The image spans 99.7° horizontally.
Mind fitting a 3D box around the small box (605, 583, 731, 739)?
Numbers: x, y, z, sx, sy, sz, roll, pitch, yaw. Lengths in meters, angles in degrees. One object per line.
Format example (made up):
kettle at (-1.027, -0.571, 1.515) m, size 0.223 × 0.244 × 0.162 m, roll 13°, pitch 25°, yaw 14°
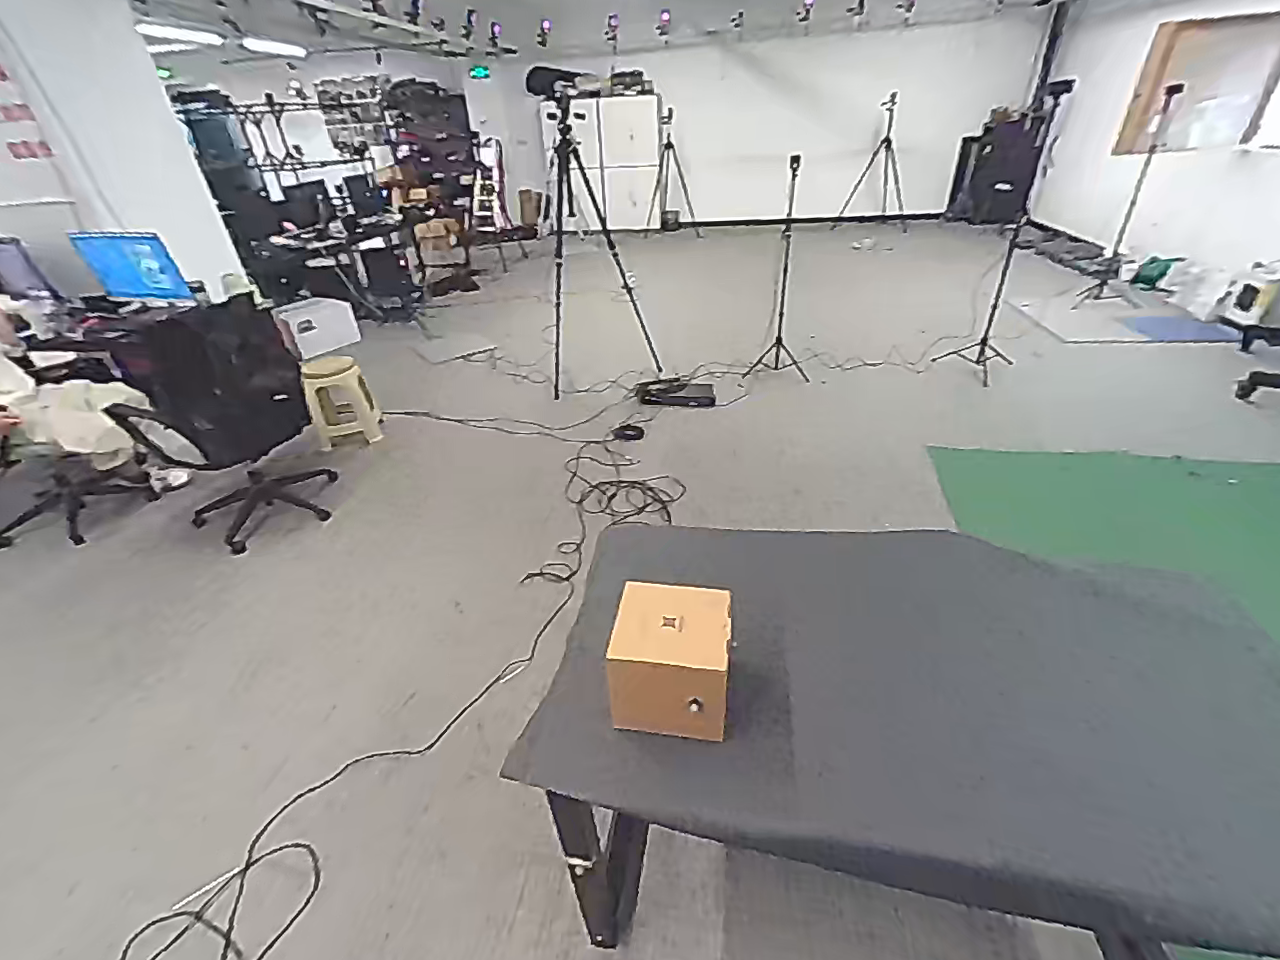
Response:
small box at (0.054, 0.289, 0.868) m, size 0.179 × 0.176 × 0.168 m, roll 1°, pitch 31°, yaw 10°
